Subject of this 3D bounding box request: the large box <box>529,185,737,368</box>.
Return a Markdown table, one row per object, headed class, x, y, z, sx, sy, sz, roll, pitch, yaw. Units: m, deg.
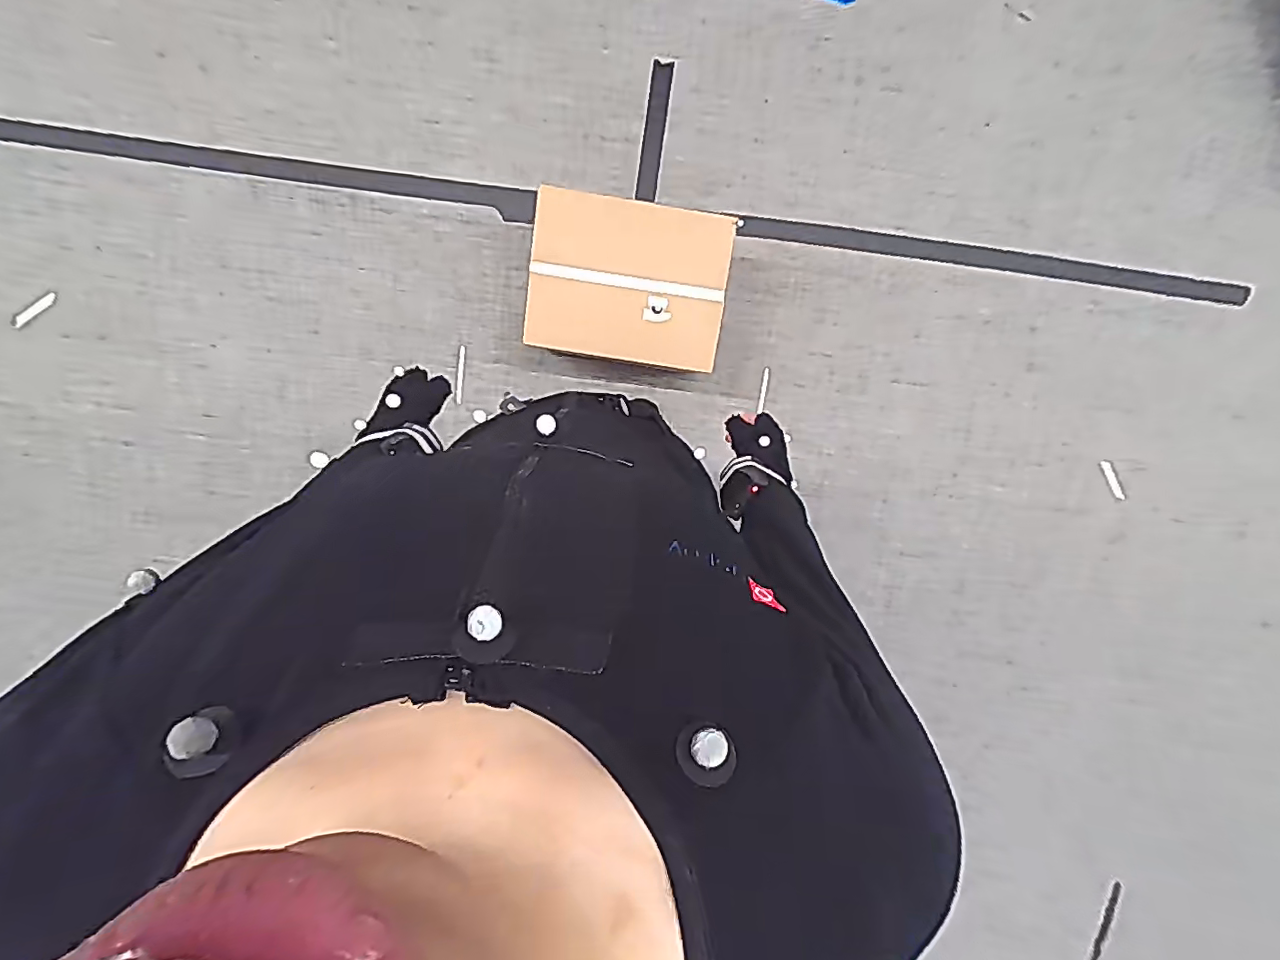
| class | x | y | z | sx | sy | sz | roll | pitch | yaw |
| --- | --- | --- | --- | --- | --- | --- | --- | --- | --- |
| large box | -0.024 | -0.442 | 1.256 | 0.408 | 0.320 | 0.320 | 8 | 102 | -4 |
